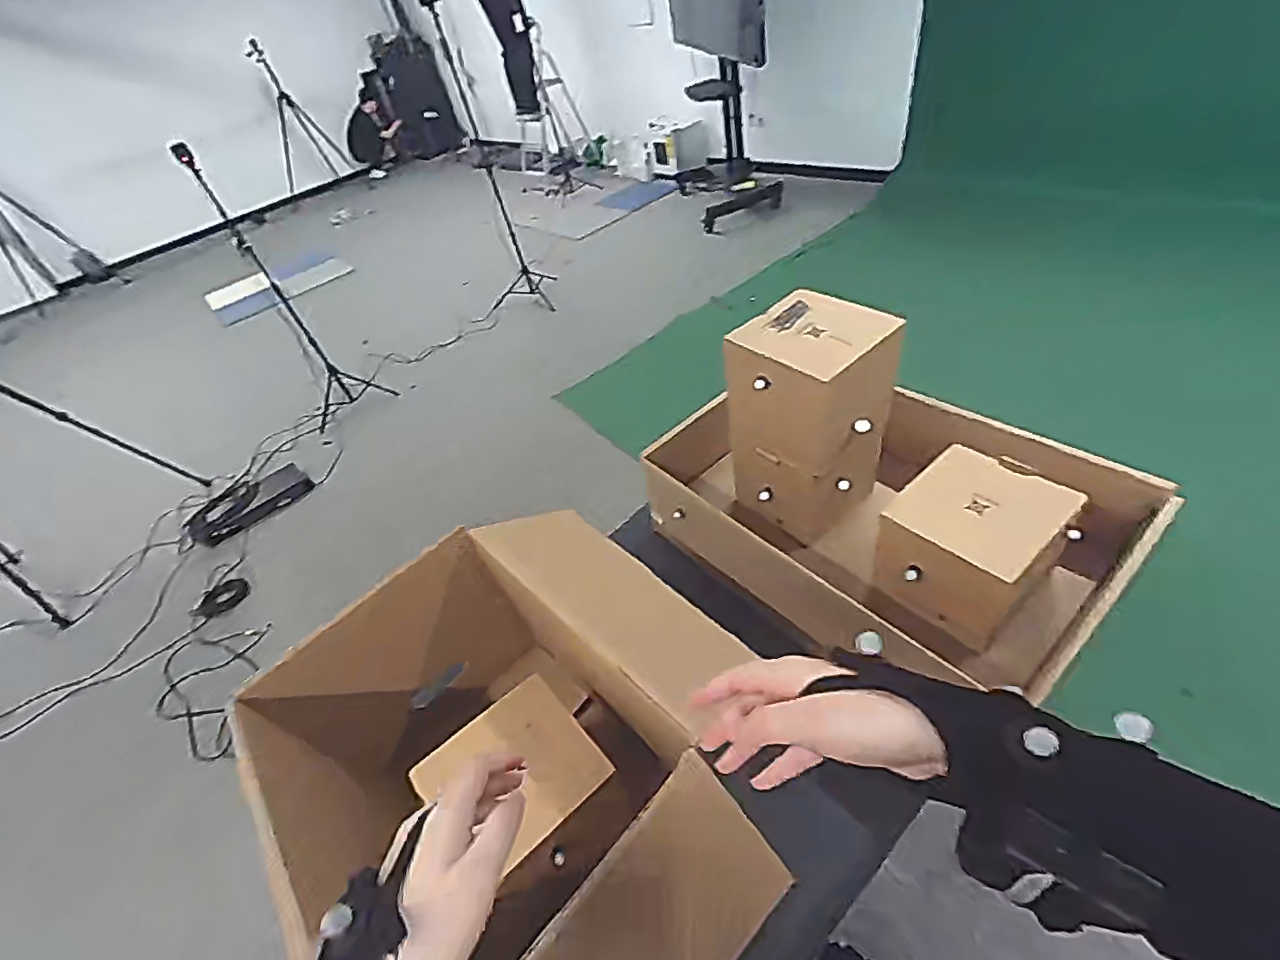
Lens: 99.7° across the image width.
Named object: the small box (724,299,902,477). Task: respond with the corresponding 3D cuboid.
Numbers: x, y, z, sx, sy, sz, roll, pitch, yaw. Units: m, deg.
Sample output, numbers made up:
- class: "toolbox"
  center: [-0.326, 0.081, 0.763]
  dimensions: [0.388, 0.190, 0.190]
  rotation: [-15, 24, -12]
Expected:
- class: "small box"
  center: [0.243, -0.134, 0.788]
  dimensions: [0.168, 0.176, 0.179]
  rotation: [-36, 48, -20]
